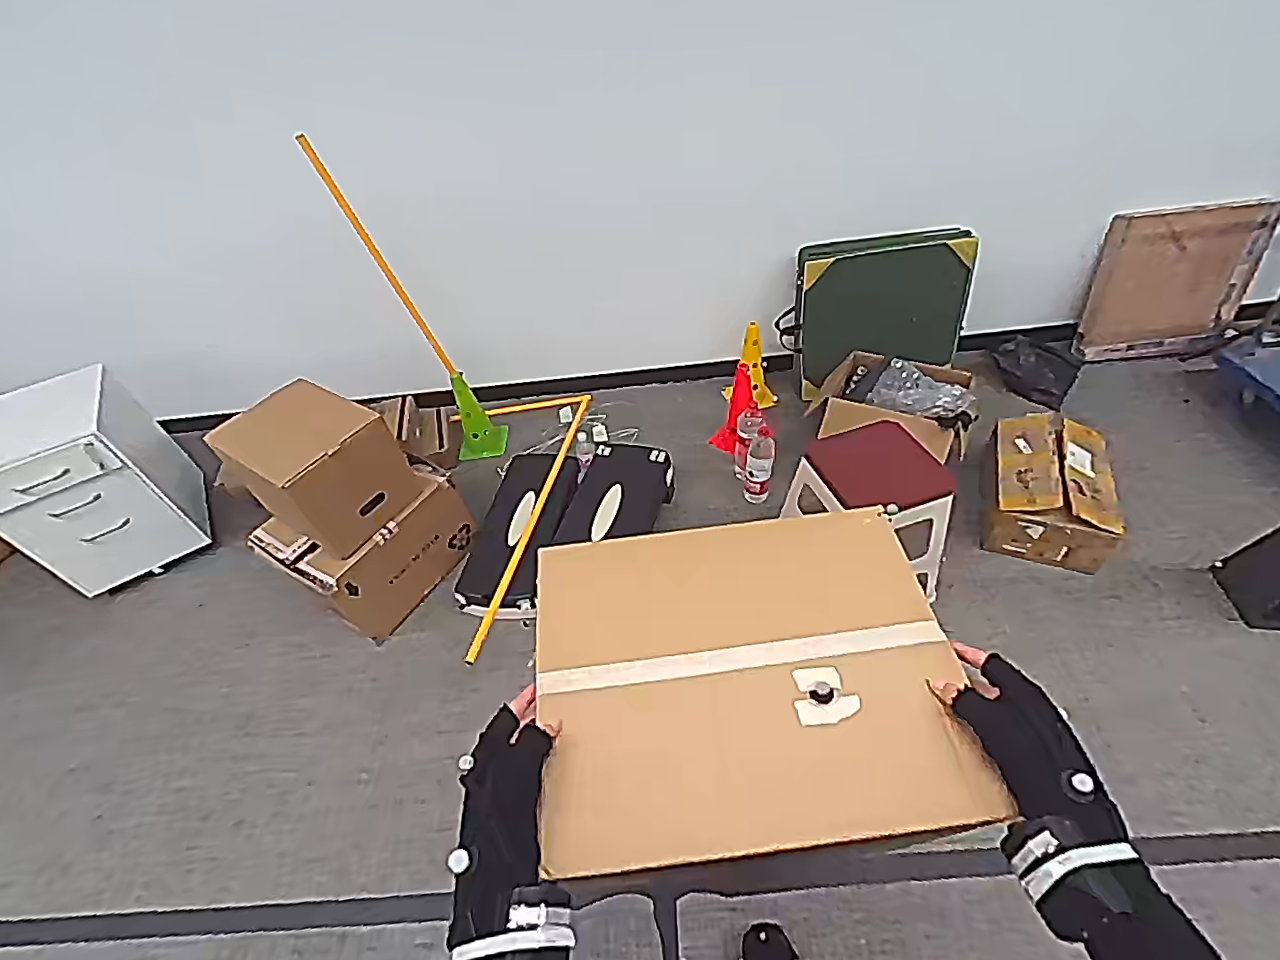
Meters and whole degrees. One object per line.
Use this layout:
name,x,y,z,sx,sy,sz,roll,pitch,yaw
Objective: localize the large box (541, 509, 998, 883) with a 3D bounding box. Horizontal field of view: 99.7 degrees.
large box,0.105,0.272,0.666,0.408,0.320,0.320,-7,52,-1
